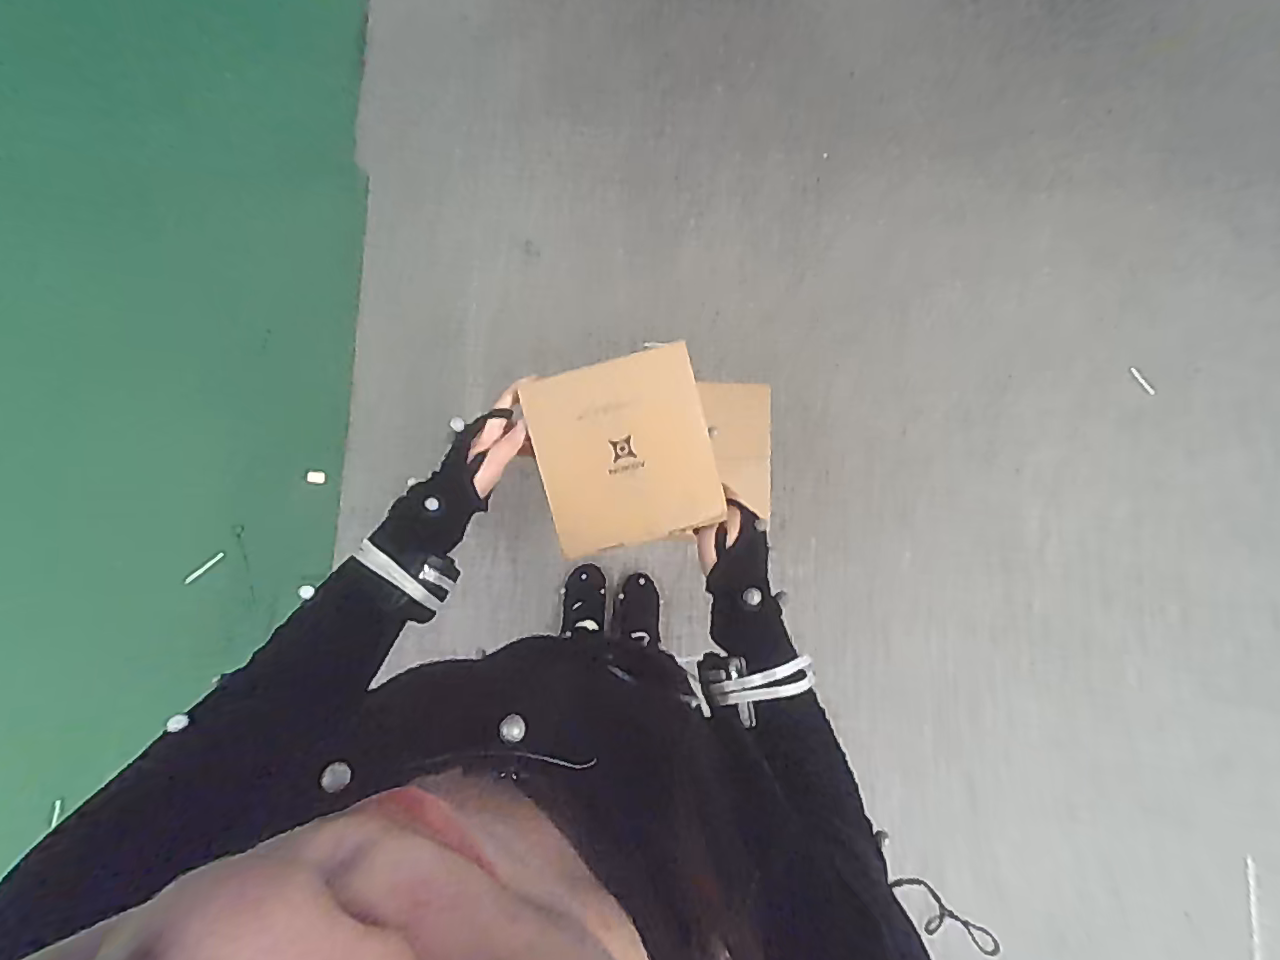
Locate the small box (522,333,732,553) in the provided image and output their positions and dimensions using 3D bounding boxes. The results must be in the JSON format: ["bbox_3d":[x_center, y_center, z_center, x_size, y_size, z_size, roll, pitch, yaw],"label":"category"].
[{"bbox_3d":[-0.007,-0.040,0.582,0.168,0.176,0.179,-15,94,3],"label":"small box"}]
